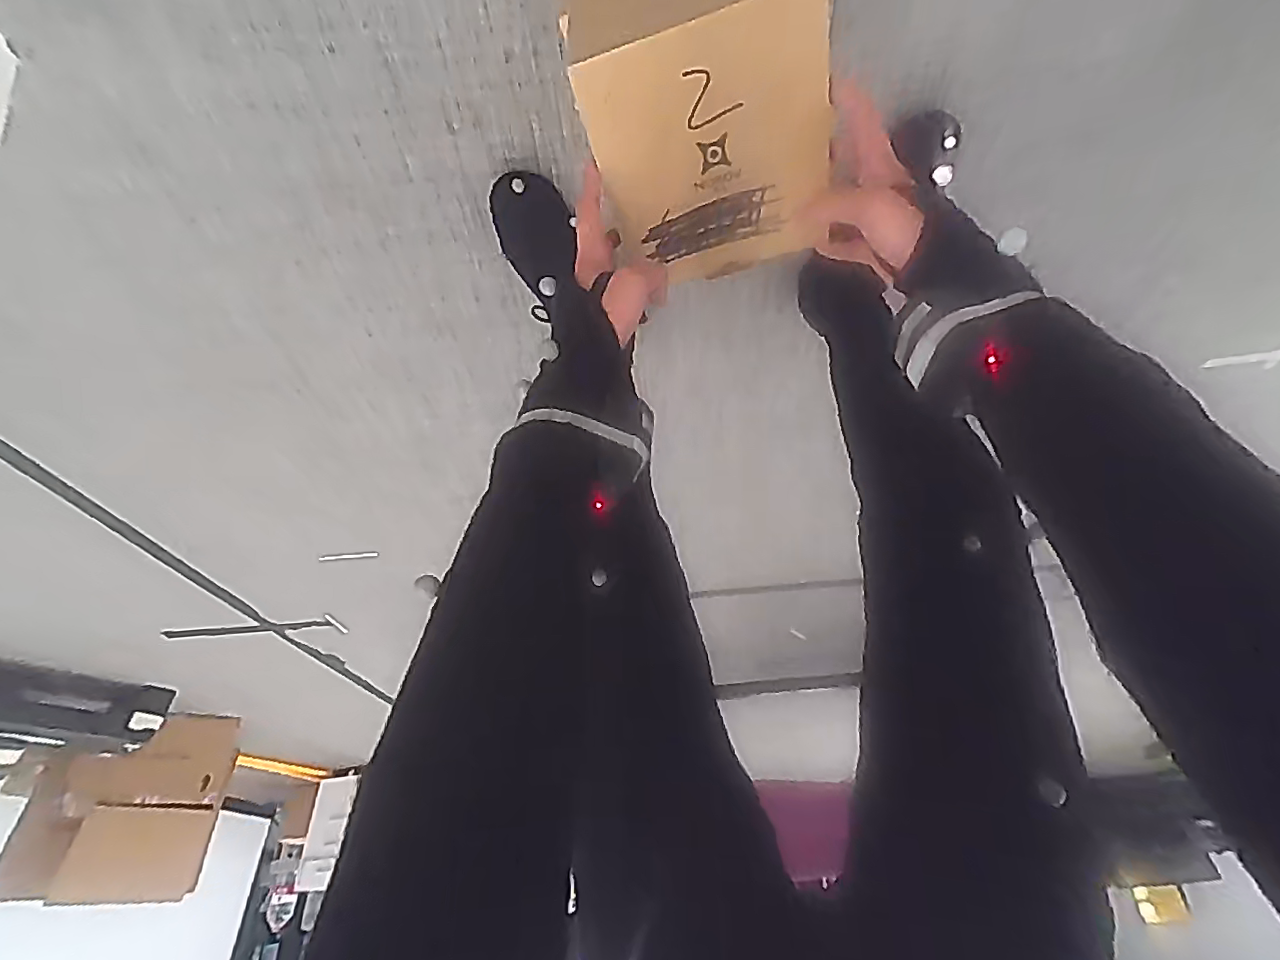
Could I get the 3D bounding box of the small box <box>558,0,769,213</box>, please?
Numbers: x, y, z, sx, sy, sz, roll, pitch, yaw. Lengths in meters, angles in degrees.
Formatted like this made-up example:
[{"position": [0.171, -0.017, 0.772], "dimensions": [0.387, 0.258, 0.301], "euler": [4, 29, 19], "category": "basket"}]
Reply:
[{"position": [0.024, -0.416, 0.548], "dimensions": [0.168, 0.176, 0.179], "euler": [-14, 142, 11], "category": "small box"}]
